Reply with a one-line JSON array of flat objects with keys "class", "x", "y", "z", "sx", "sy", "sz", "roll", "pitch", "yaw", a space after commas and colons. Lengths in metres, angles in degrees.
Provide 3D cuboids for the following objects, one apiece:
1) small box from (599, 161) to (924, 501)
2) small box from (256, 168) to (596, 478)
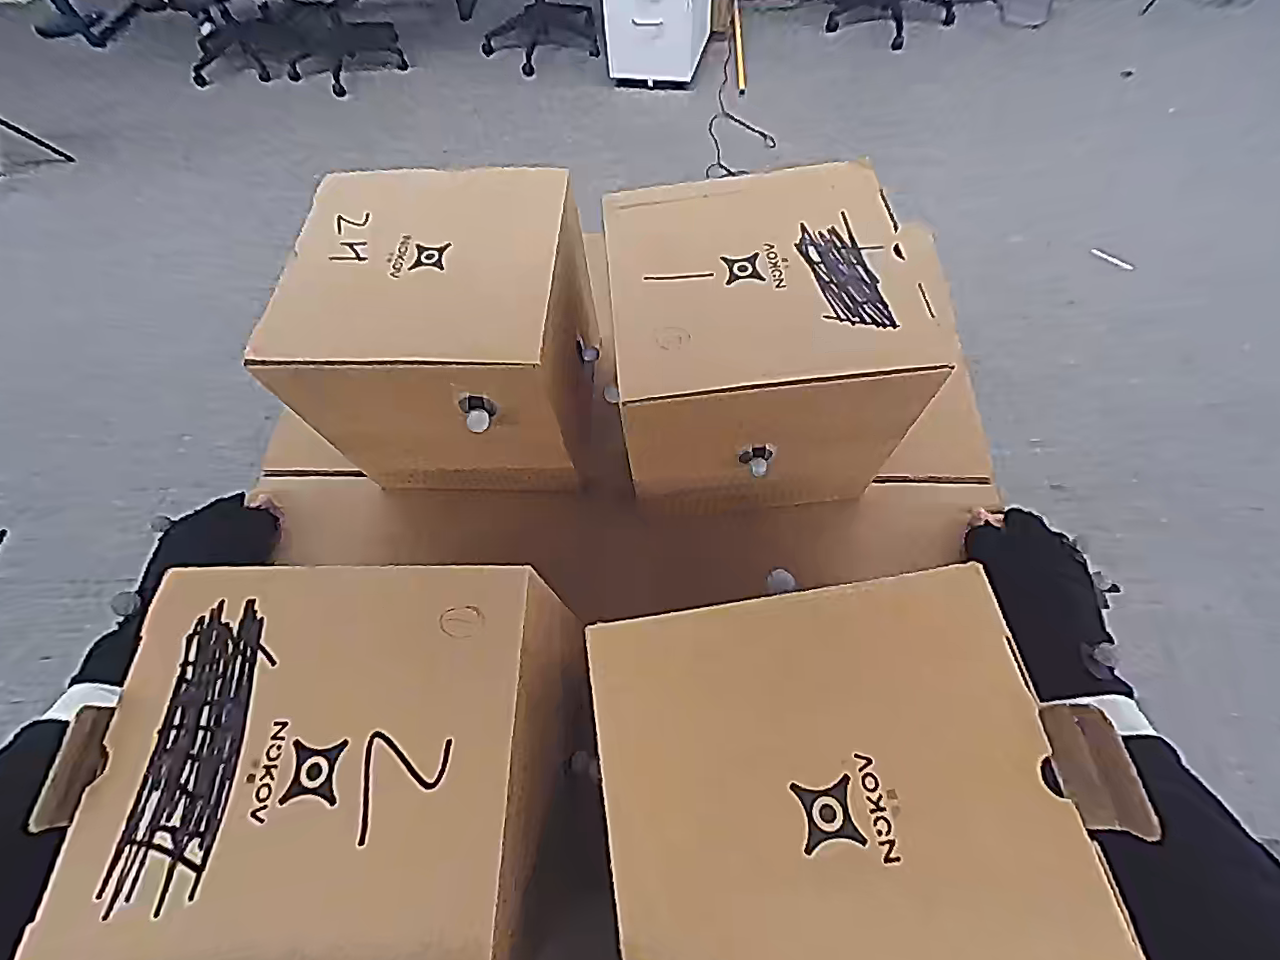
[{"class": "small box", "x": 0.069, "y": -0.095, "z": 0.399, "sx": 0.179, "sy": 0.176, "sz": 0.168, "roll": -6, "pitch": 64, "yaw": 3}, {"class": "small box", "x": -0.134, "y": -0.110, "z": 0.421, "sx": 0.179, "sy": 0.176, "sz": 0.168, "roll": 2, "pitch": 64, "yaw": 5}]
